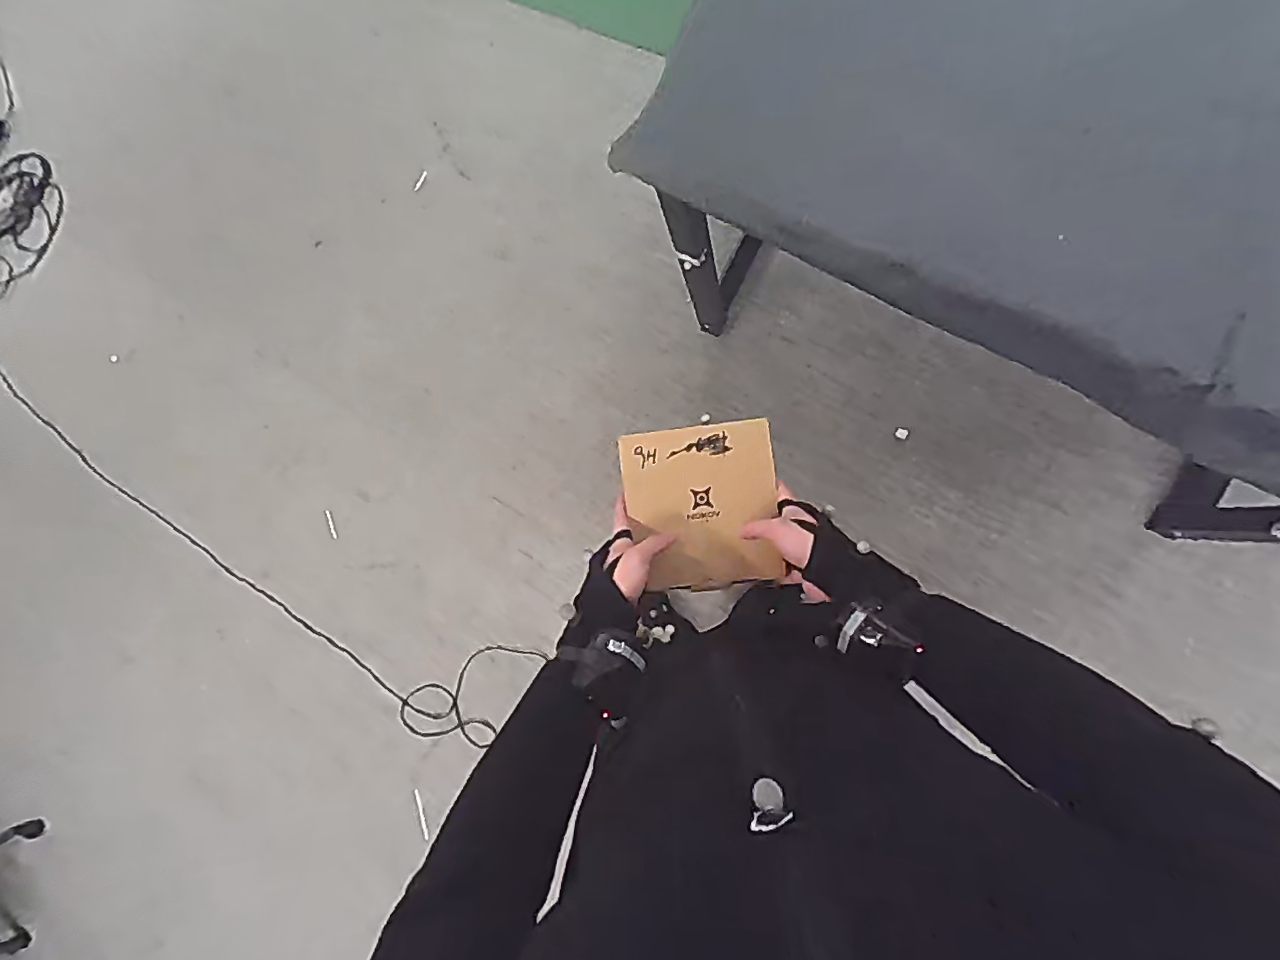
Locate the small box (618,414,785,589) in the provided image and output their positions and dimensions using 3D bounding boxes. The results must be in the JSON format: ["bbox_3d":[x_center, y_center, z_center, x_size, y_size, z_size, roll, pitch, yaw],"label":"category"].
[{"bbox_3d":[0.069,0.020,0.654,0.168,0.176,0.179,-7,92,2],"label":"small box"}]
